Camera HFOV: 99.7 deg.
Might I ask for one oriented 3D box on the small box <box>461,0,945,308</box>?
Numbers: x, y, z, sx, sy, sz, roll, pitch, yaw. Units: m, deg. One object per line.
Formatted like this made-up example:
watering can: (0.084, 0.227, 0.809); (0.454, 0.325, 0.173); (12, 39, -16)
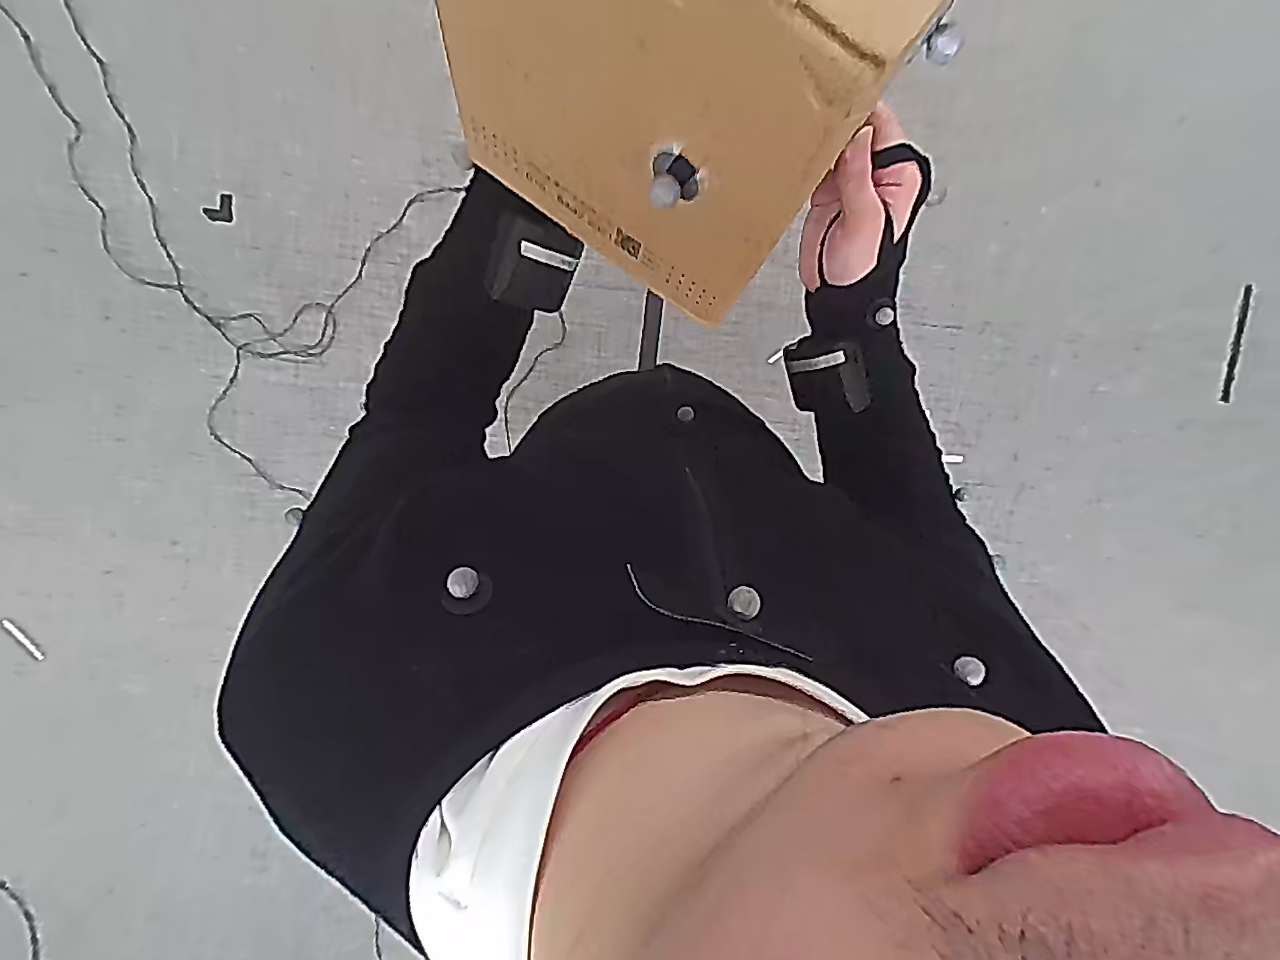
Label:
small box: (0.035, -0.215, 0.247); (0.168, 0.176, 0.179); (35, 78, -3)
